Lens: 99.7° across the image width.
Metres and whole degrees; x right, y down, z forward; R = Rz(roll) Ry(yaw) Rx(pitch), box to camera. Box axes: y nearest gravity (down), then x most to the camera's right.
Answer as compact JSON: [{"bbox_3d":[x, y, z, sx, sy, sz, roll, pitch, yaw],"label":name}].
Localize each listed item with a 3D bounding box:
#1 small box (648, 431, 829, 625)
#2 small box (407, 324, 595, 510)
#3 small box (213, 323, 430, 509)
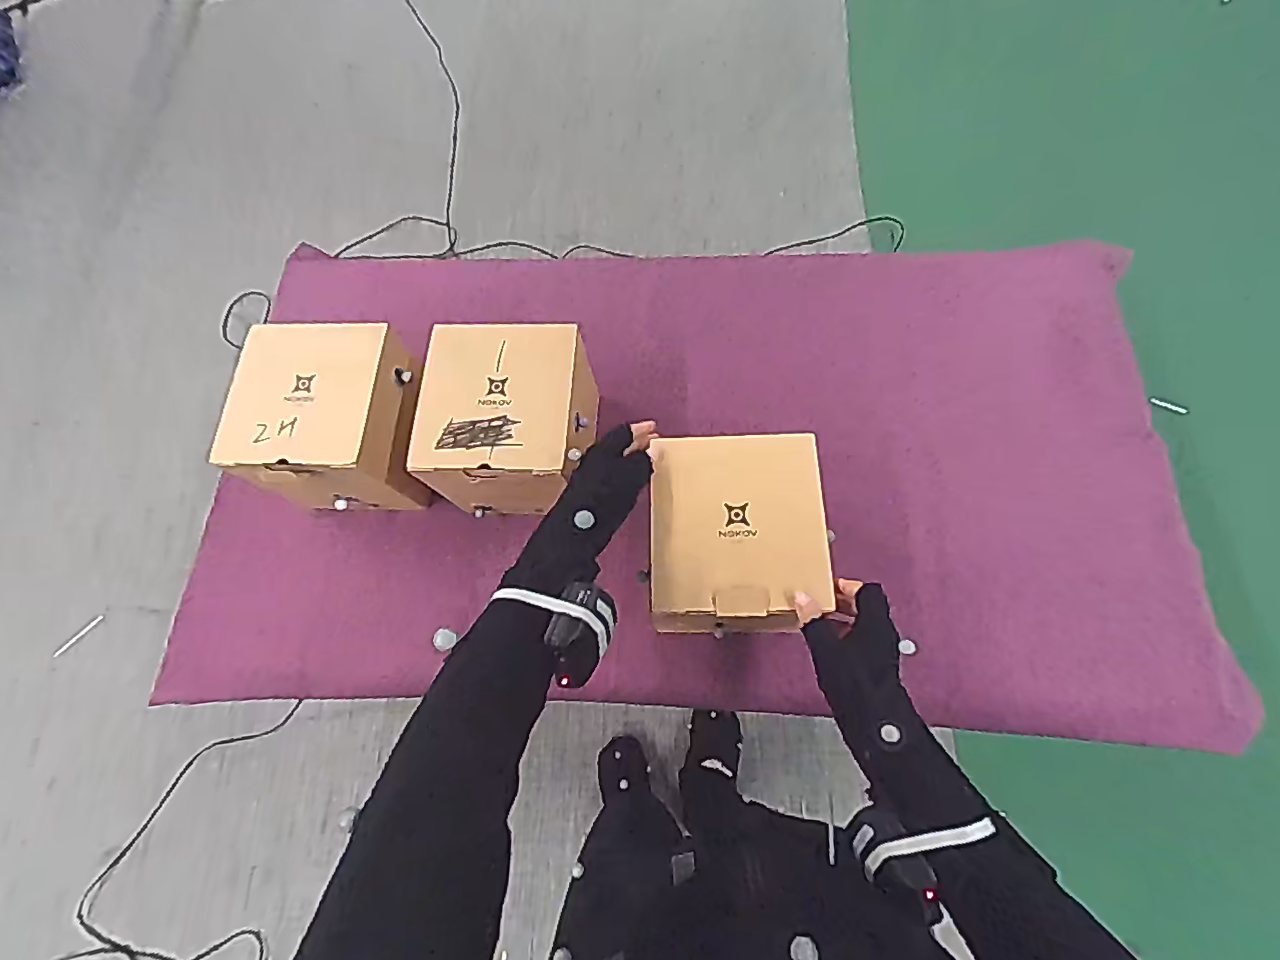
[{"bbox_3d":[0.094,0.061,0.589,0.168,0.176,0.179,-2,71,4],"label":"small box"},{"bbox_3d":[-0.150,-0.066,0.651,0.168,0.176,0.179,1,71,5],"label":"small box"},{"bbox_3d":[-0.363,-0.072,0.669,0.168,0.176,0.179,1,72,5],"label":"small box"}]
